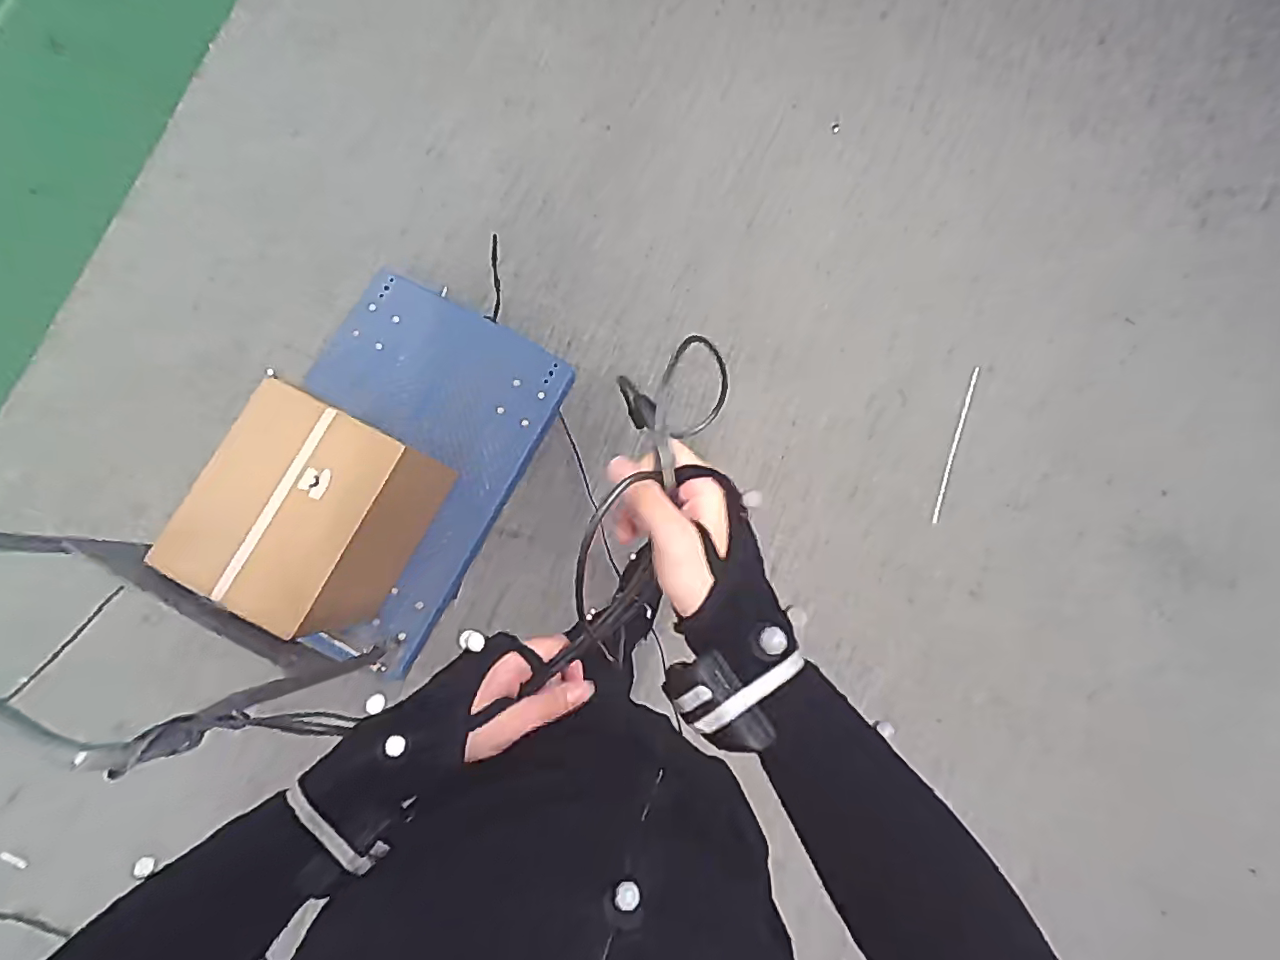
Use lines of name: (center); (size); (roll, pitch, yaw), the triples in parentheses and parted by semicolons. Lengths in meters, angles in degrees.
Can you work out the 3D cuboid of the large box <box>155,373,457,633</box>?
large box: (-0.660, 0.059, 1.142); (0.320, 0.320, 0.408); (27, 82, 3)
